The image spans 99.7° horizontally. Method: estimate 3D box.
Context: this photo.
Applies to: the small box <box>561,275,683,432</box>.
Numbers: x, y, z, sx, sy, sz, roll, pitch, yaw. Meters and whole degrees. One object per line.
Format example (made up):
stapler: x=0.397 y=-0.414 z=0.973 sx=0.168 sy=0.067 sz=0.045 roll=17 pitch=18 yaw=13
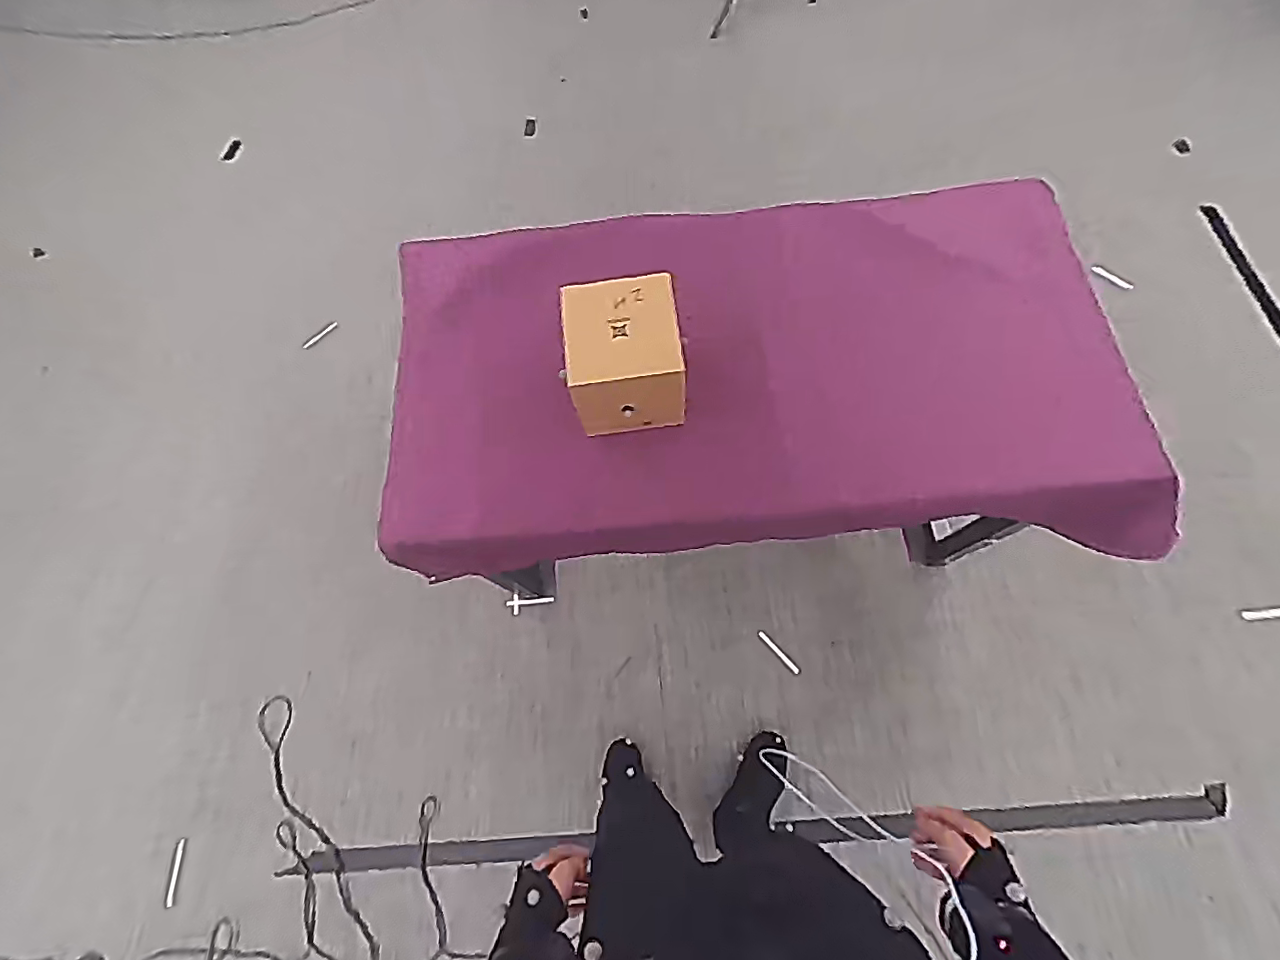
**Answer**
small box: x=-0.024 y=-0.186 z=0.846 sx=0.168 sy=0.176 sz=0.179 roll=-7 pitch=69 yaw=1
